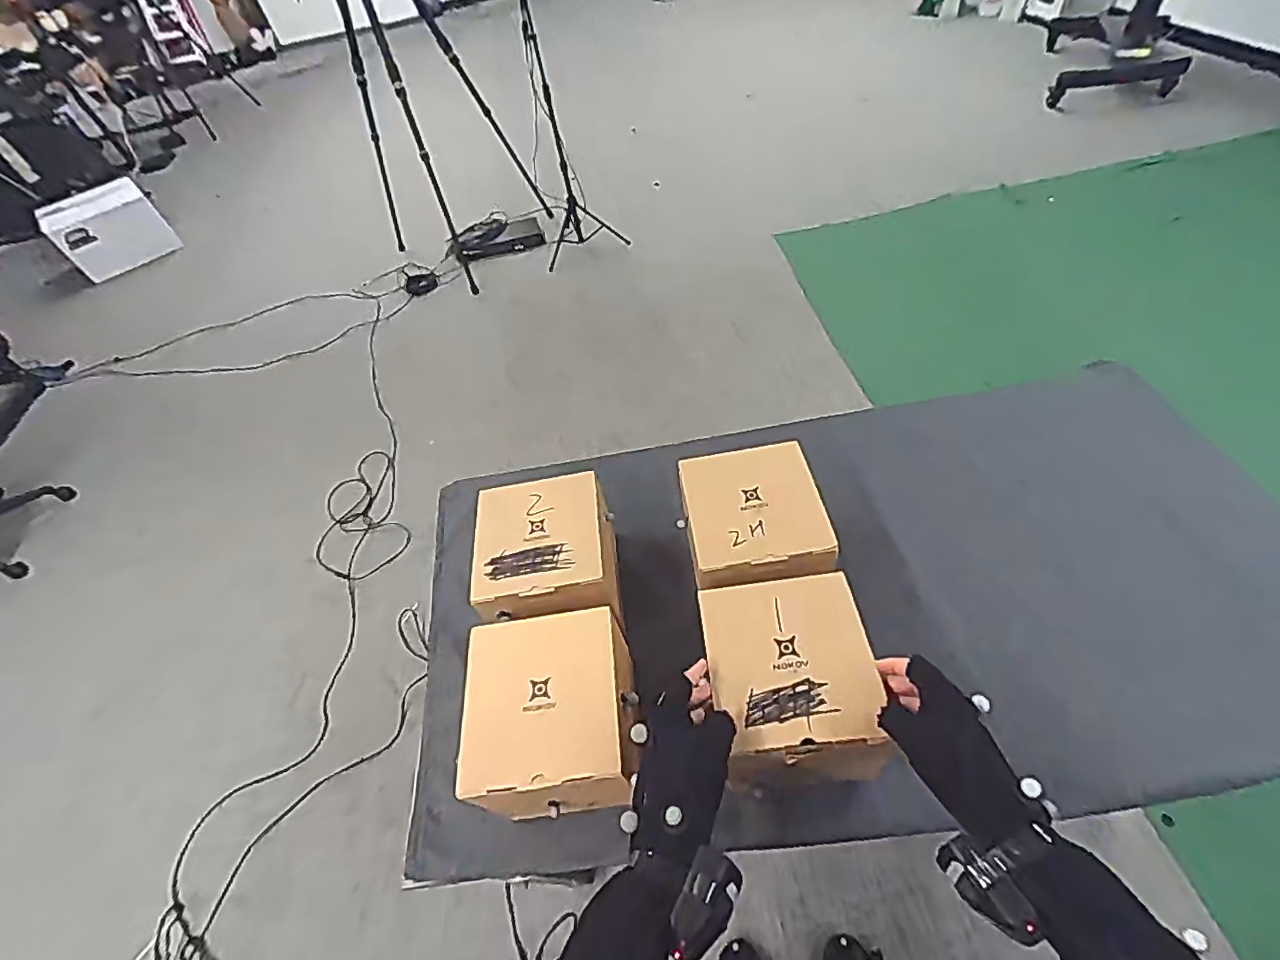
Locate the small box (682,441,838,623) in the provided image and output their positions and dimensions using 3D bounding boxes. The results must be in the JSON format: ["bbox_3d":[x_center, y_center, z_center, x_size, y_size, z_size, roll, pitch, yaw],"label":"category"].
[{"bbox_3d":[0.153,0.074,0.746,0.168,0.176,0.179,-9,51,3],"label":"small box"}]
